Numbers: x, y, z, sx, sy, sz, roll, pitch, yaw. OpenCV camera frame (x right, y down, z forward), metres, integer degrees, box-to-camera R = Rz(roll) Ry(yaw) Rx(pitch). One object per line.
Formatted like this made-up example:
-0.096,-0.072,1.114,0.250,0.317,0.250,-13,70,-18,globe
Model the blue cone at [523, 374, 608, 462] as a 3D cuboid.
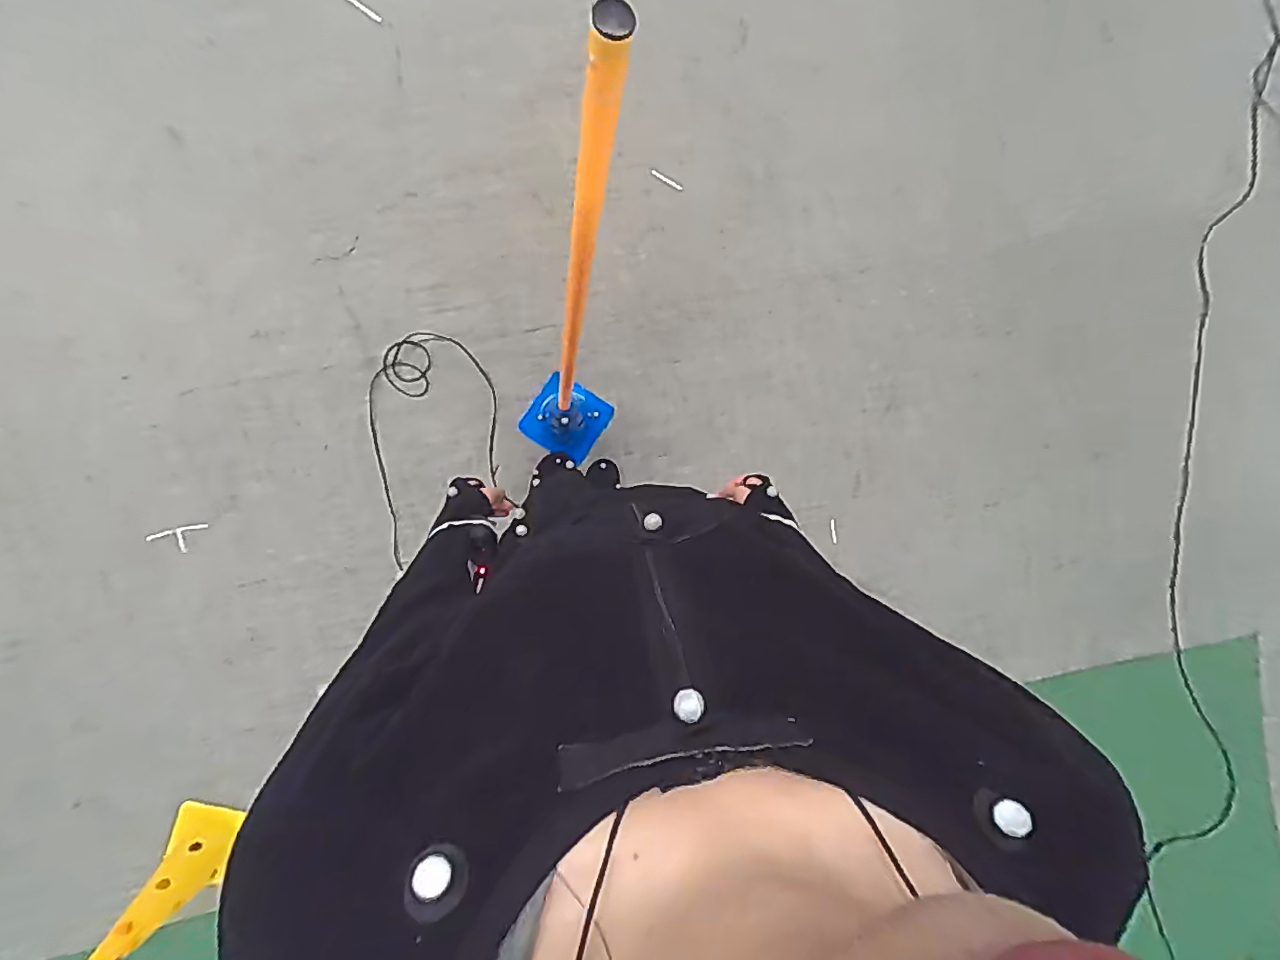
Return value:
-0.178,-0.164,1.279,0.192,0.380,0.193,33,86,-7,blue cone
